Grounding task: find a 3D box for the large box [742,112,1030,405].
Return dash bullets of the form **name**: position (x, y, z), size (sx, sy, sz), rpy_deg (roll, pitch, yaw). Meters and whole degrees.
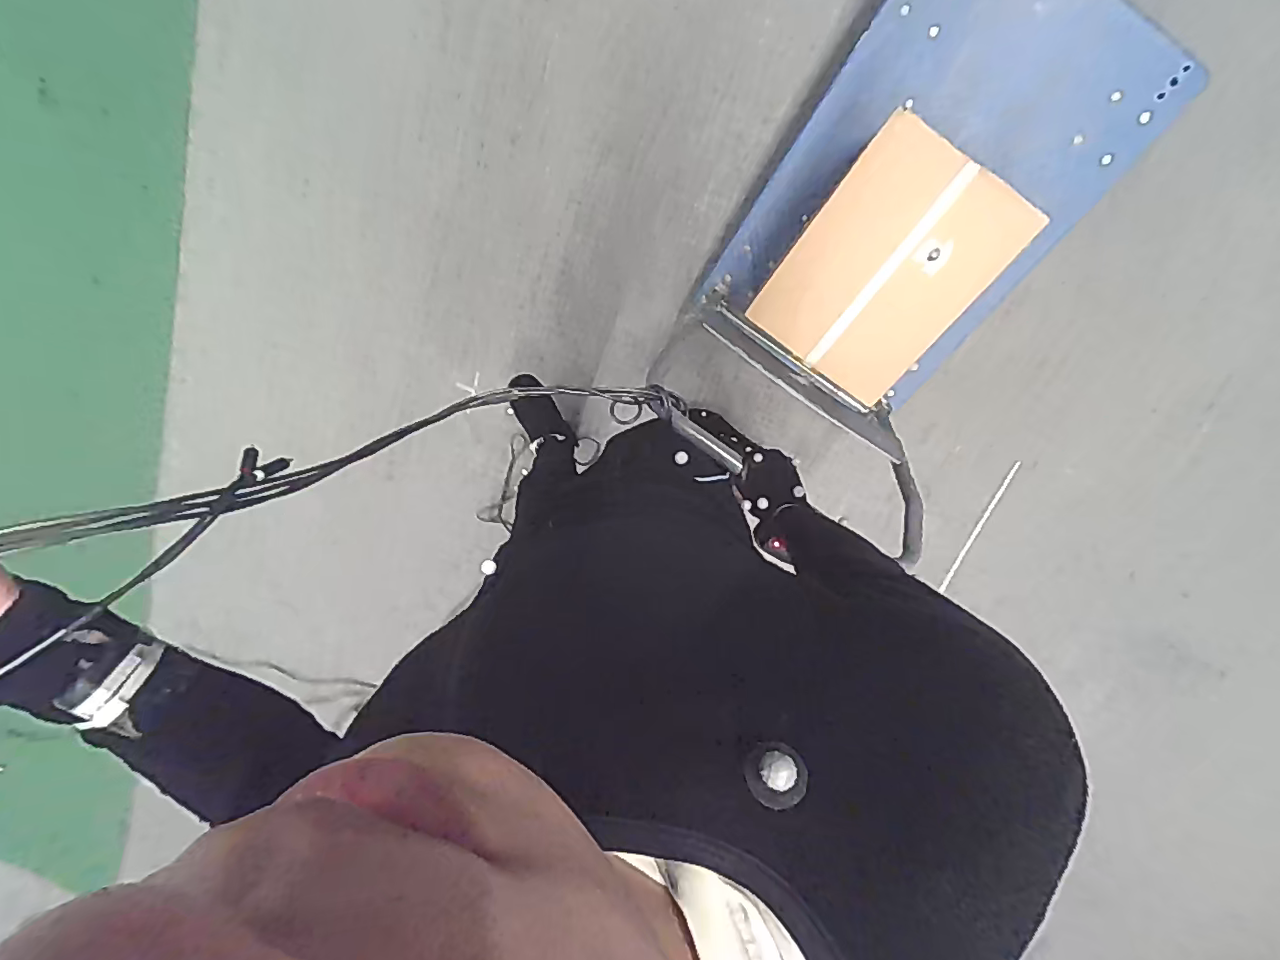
- **large box**: position (0.459, -0.431, 1.113), size (0.320, 0.320, 0.408), rpy_deg (36, 116, -3)
